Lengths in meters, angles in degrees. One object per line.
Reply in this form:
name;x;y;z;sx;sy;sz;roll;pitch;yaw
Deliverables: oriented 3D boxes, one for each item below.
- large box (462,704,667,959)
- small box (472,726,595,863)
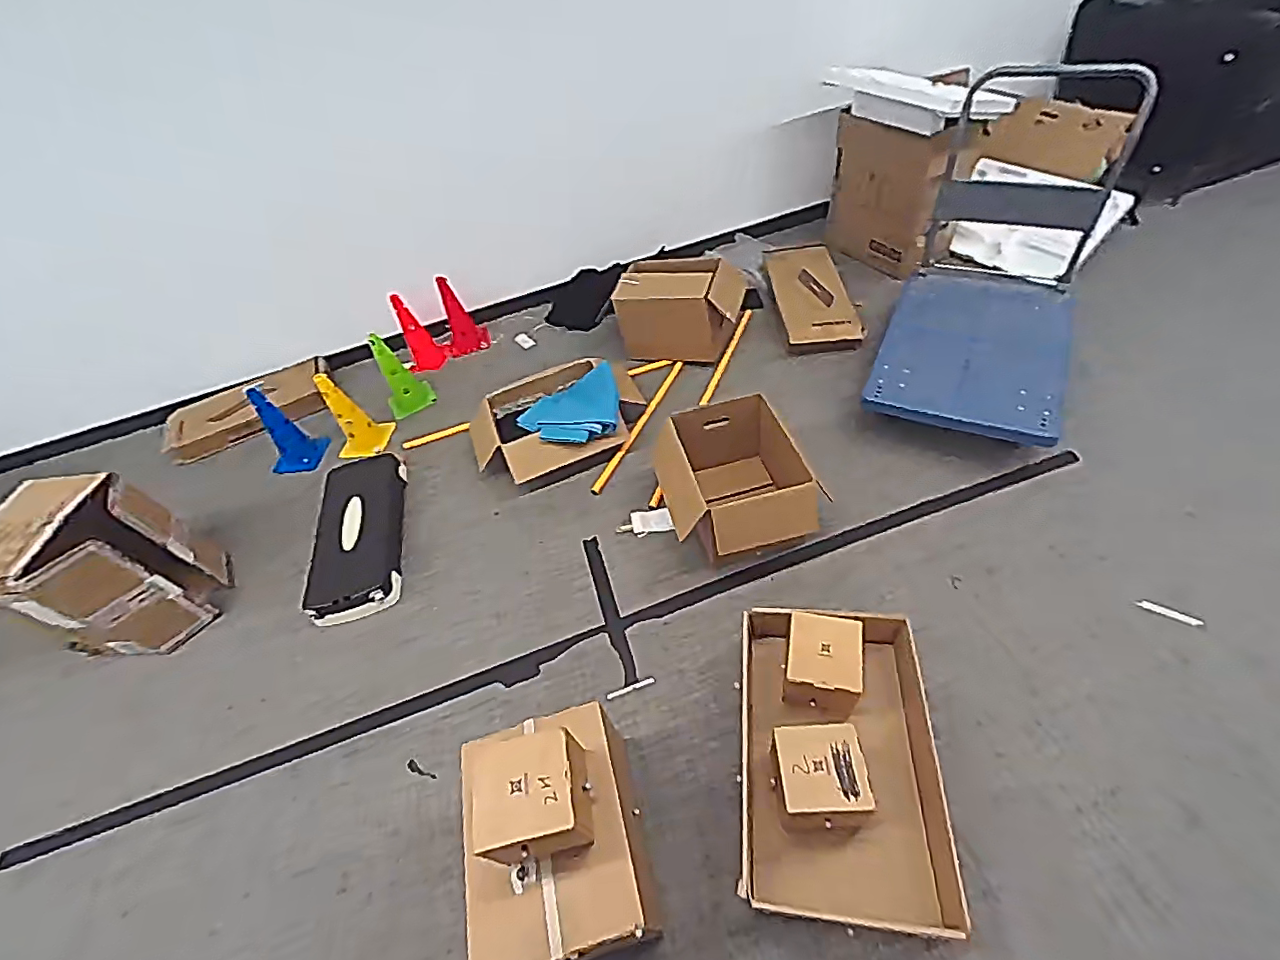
large box;-0.158;0.763;1.152;0.320;0.320;0.408;-18;50;-3
small box;-0.192;0.578;0.988;0.179;0.176;0.168;-14;49;-2
